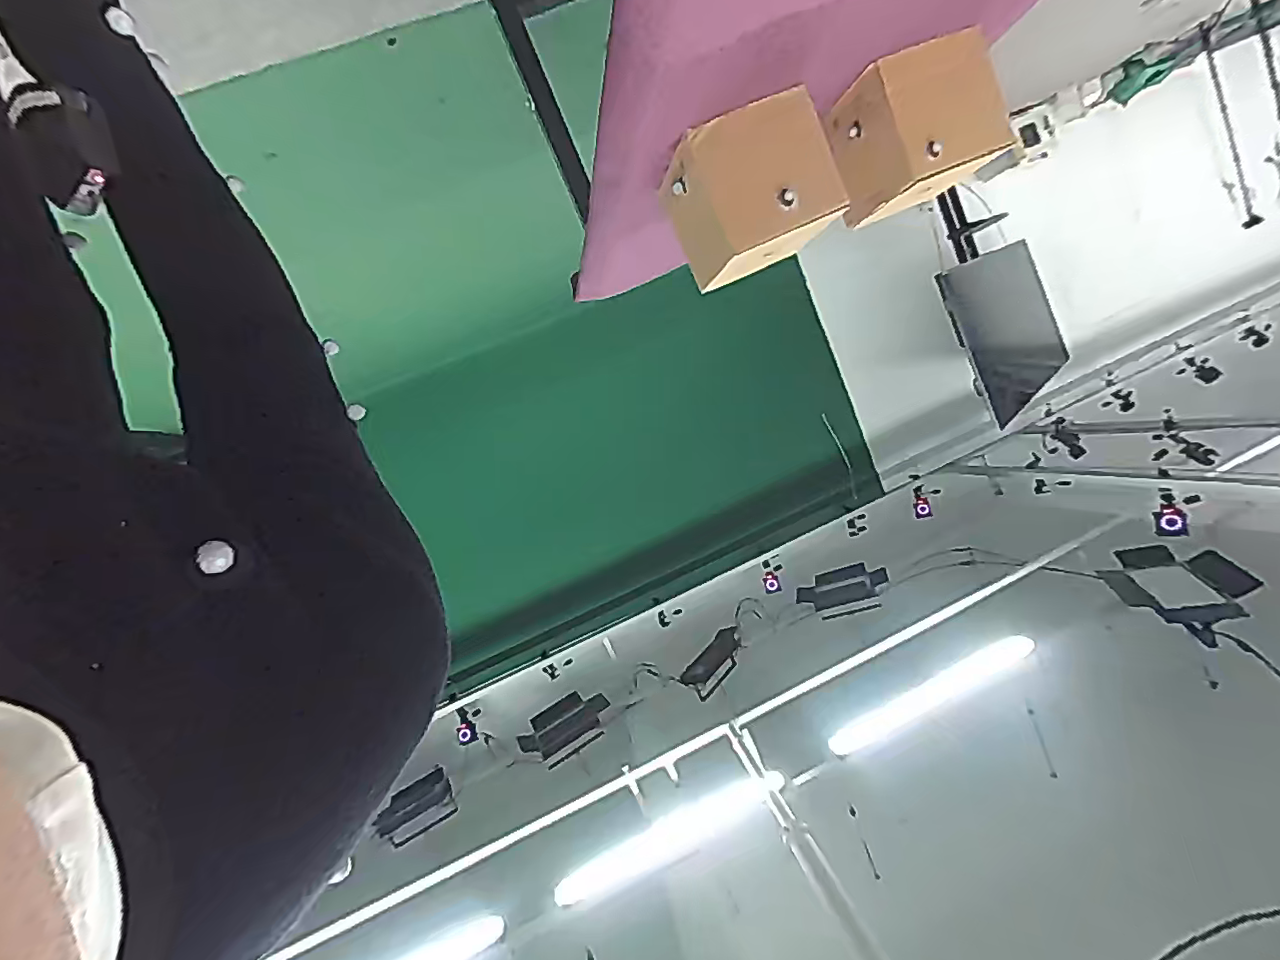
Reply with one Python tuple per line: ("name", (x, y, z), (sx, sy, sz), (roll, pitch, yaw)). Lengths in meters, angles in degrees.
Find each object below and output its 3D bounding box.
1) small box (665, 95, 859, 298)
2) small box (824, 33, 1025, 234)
("small box", (0.158, -0.384, 0.748), (0.179, 0.176, 0.168), (-25, -174, -7))
("small box", (0.404, -0.499, 0.790), (0.179, 0.176, 0.168), (-23, -173, -8))
